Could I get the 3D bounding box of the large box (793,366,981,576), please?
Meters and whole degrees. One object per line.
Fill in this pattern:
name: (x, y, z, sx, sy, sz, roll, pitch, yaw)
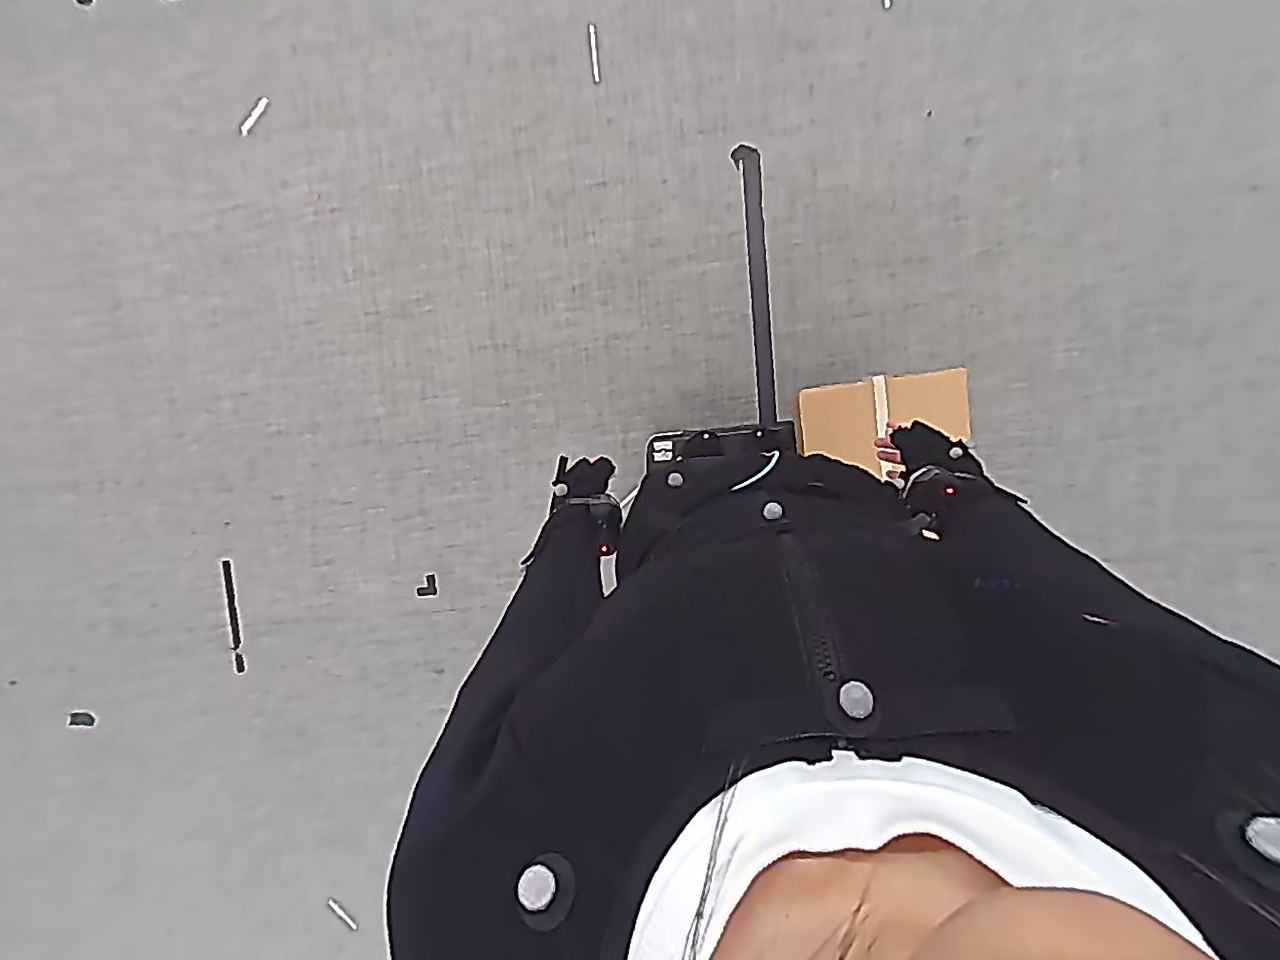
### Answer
large box: (0.539, -0.029, 1.240, 0.320, 0.320, 0.408, -6, 96, 15)
